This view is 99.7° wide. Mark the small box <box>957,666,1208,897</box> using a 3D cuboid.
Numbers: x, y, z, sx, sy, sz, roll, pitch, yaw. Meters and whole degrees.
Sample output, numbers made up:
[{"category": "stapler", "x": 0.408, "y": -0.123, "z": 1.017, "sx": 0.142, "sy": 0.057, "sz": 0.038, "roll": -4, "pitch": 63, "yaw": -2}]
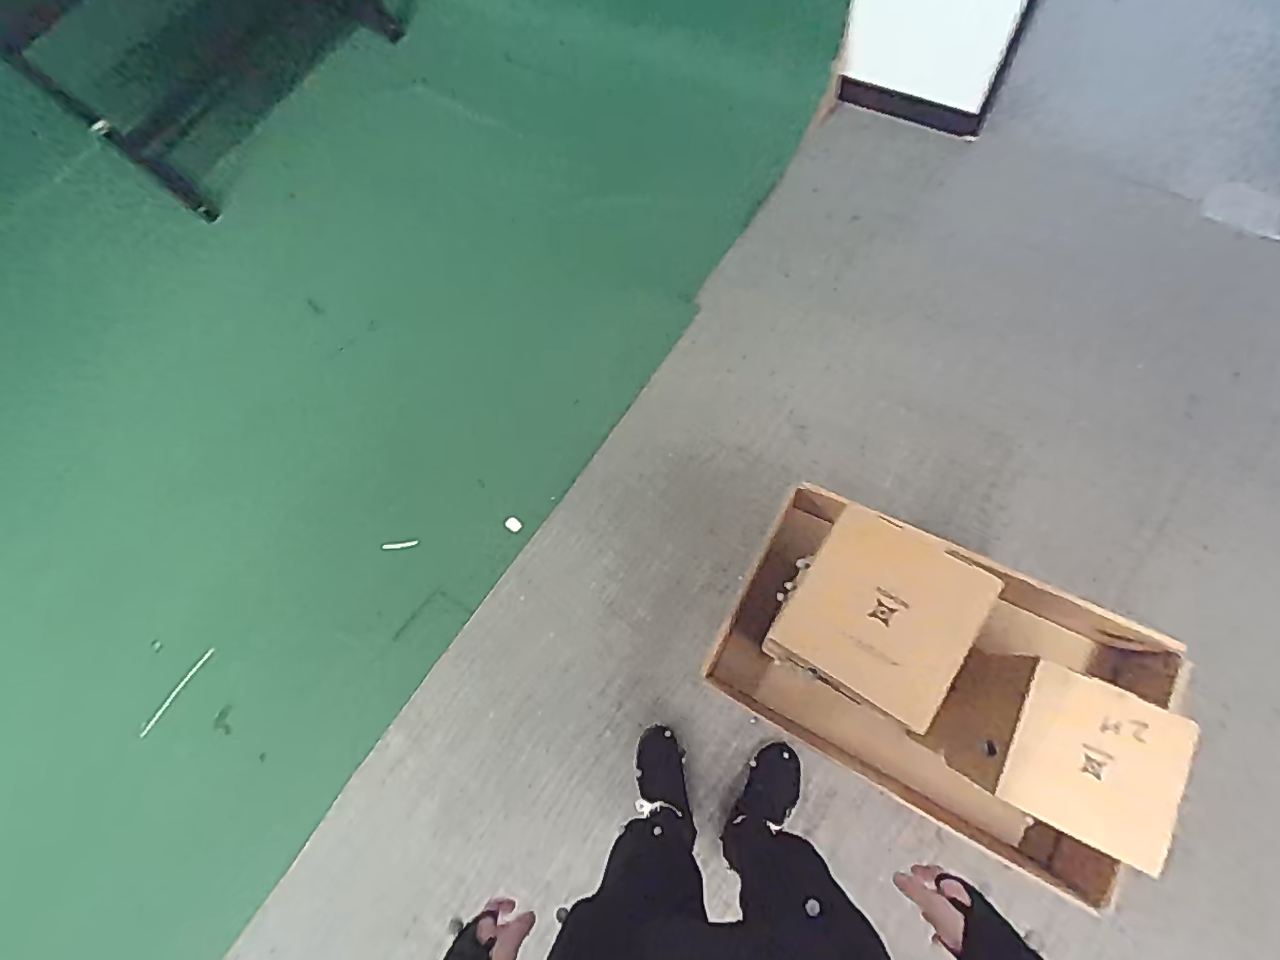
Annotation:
[{"category": "small box", "x": 0.526, "y": 0.351, "z": 0.673, "sx": 0.168, "sy": 0.176, "sz": 0.179, "roll": 24, "pitch": 78, "yaw": 17}]

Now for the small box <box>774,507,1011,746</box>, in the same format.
[{"category": "small box", "x": 0.264, "y": 0.162, "z": 0.613, "sx": 0.168, "sy": 0.176, "sz": 0.179, "roll": 32, "pitch": 81, "yaw": 19}]
